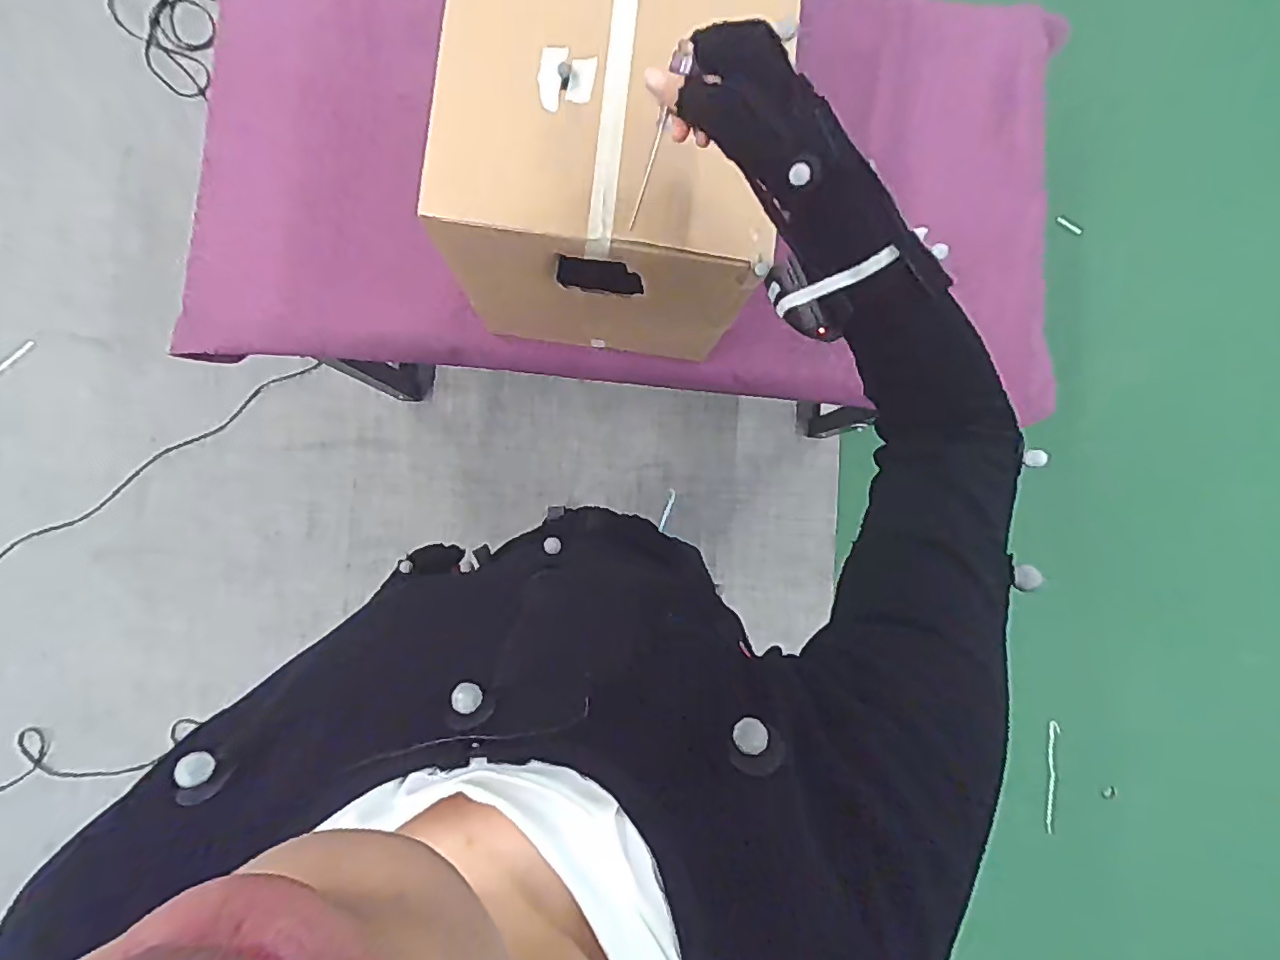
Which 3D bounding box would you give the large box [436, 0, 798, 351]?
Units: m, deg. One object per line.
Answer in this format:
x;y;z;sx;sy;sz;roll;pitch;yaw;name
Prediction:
-0.024;-0.406;0.643;0.320;0.320;0.408;7;88;-4;large box
